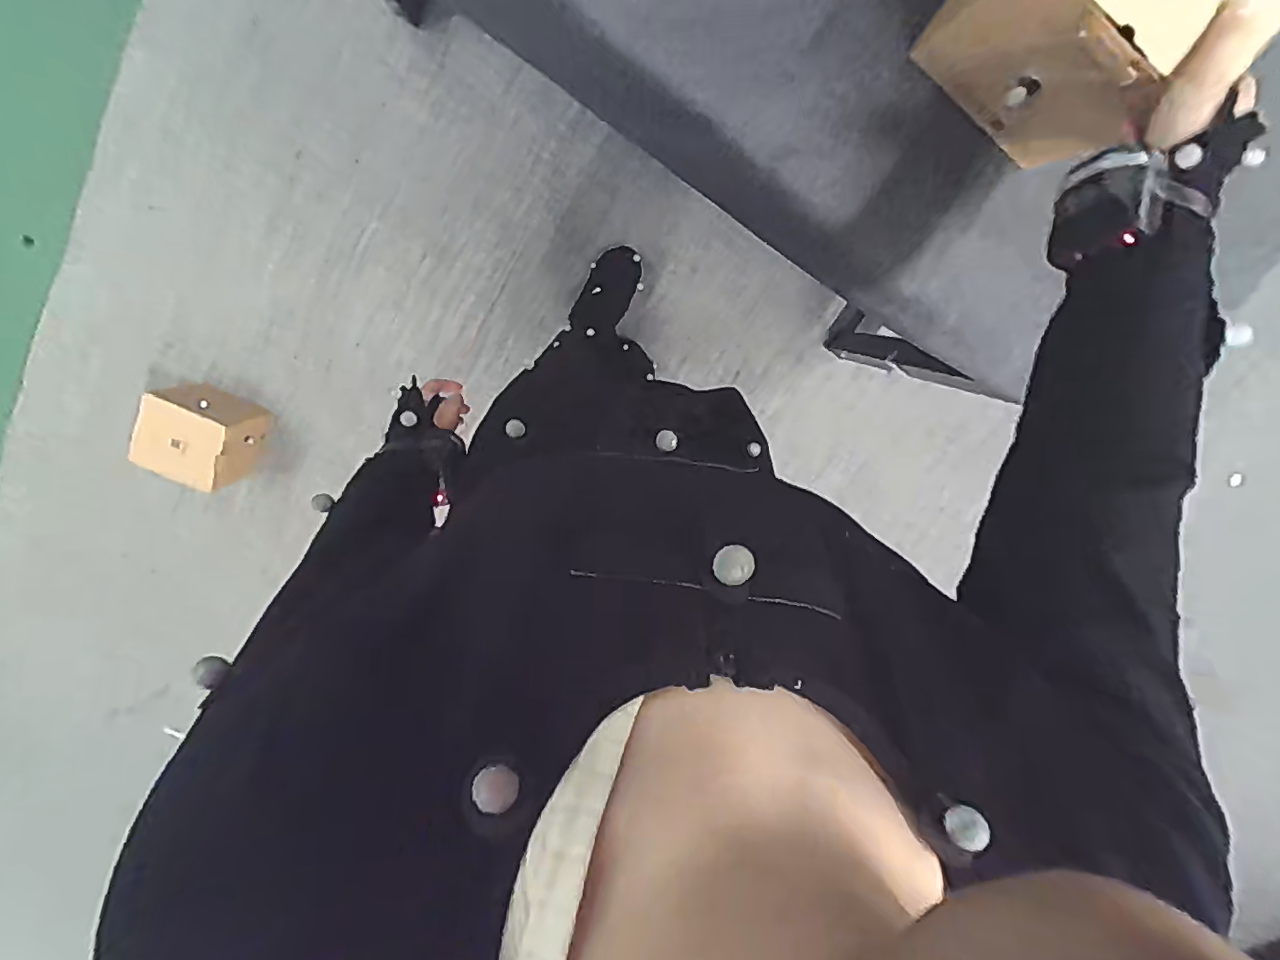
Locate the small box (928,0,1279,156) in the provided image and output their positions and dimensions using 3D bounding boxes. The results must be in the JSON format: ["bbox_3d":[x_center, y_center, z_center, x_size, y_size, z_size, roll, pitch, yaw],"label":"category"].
[{"bbox_3d":[0.359,-0.389,0.413,0.168,0.176,0.179,33,105,-13],"label":"small box"}]

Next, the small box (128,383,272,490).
[{"bbox_3d":[-0.981,-0.106,1.221,0.179,0.176,0.168,25,104,-9],"label":"small box"}]
